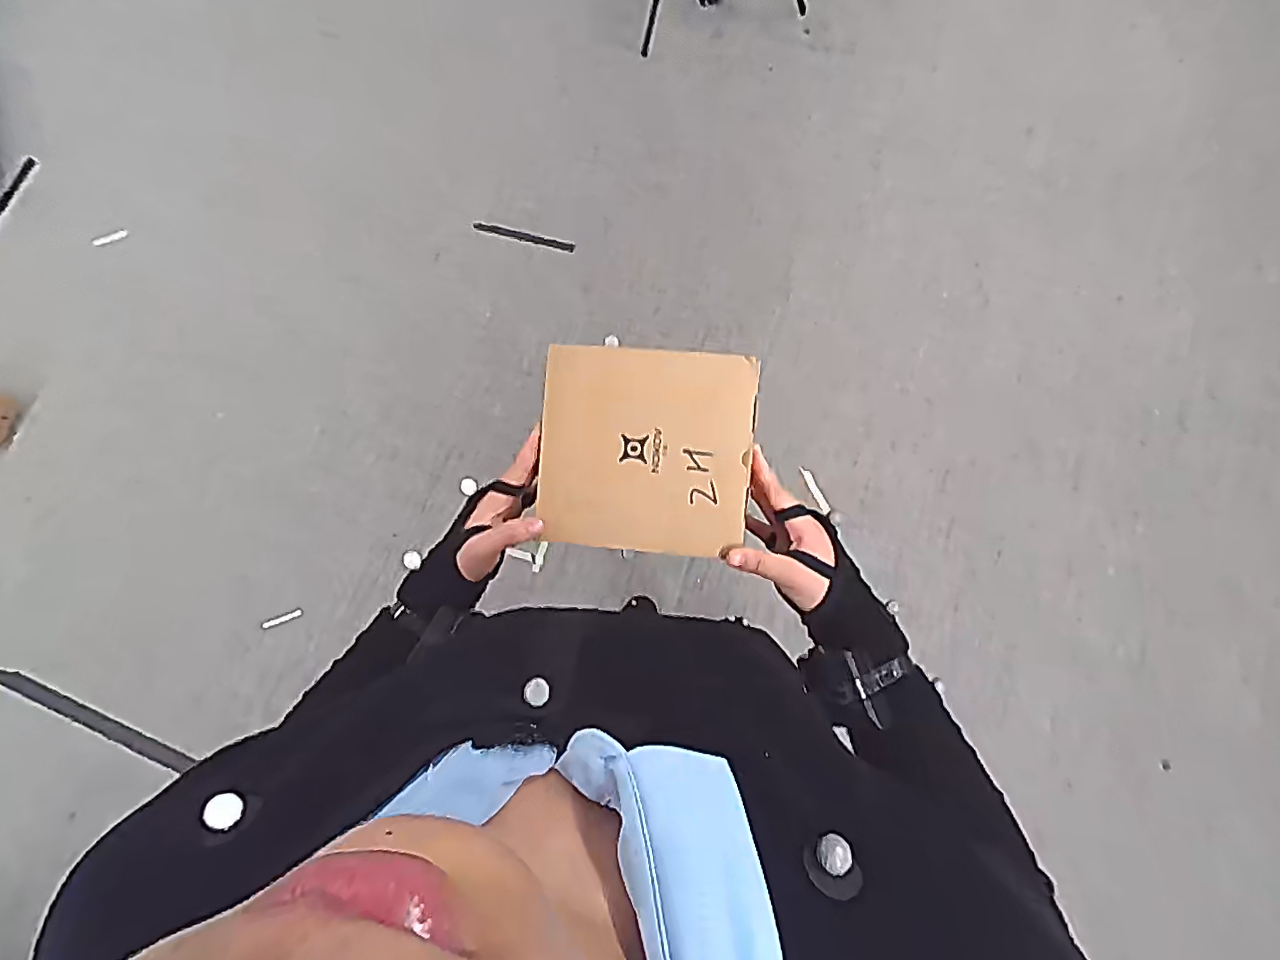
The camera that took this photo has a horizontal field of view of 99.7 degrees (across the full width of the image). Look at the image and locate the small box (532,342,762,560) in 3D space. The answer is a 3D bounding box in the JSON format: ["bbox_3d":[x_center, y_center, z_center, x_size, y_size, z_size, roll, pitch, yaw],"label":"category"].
[{"bbox_3d":[0.011,-0.027,0.517,0.179,0.176,0.168,5,93,5],"label":"small box"}]

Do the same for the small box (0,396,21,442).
[{"bbox_3d":[-2.175,-0.215,1.733,0.179,0.176,0.168,11,78,8],"label":"small box"}]
